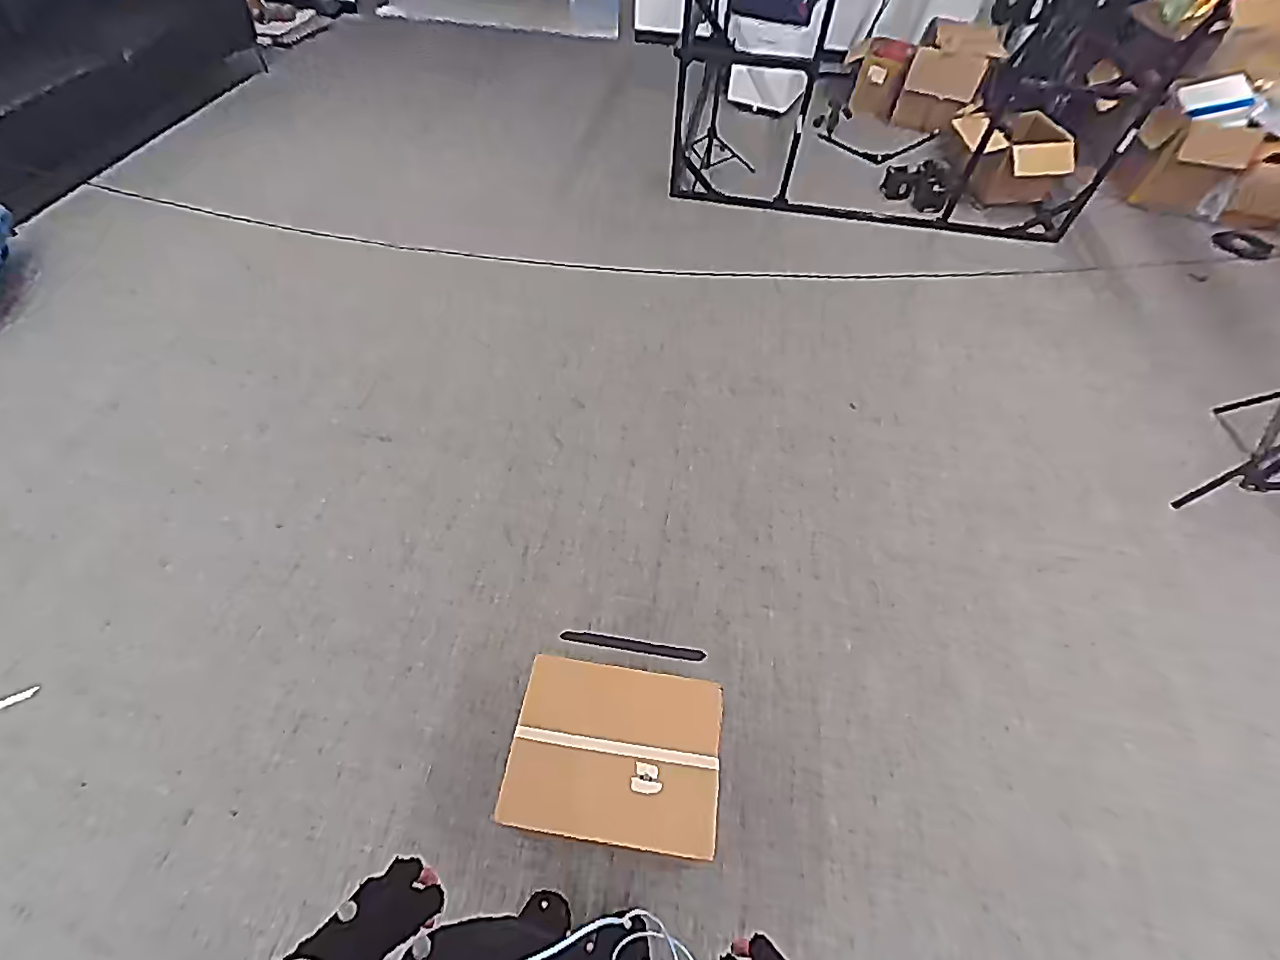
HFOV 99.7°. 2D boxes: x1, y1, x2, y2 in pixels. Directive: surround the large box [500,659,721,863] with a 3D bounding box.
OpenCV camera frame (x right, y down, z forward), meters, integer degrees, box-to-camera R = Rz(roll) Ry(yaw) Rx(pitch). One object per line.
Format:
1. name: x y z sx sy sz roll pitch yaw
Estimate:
1. large box: -0.052 0.619 1.183 0.408 0.320 0.320 8 54 3
